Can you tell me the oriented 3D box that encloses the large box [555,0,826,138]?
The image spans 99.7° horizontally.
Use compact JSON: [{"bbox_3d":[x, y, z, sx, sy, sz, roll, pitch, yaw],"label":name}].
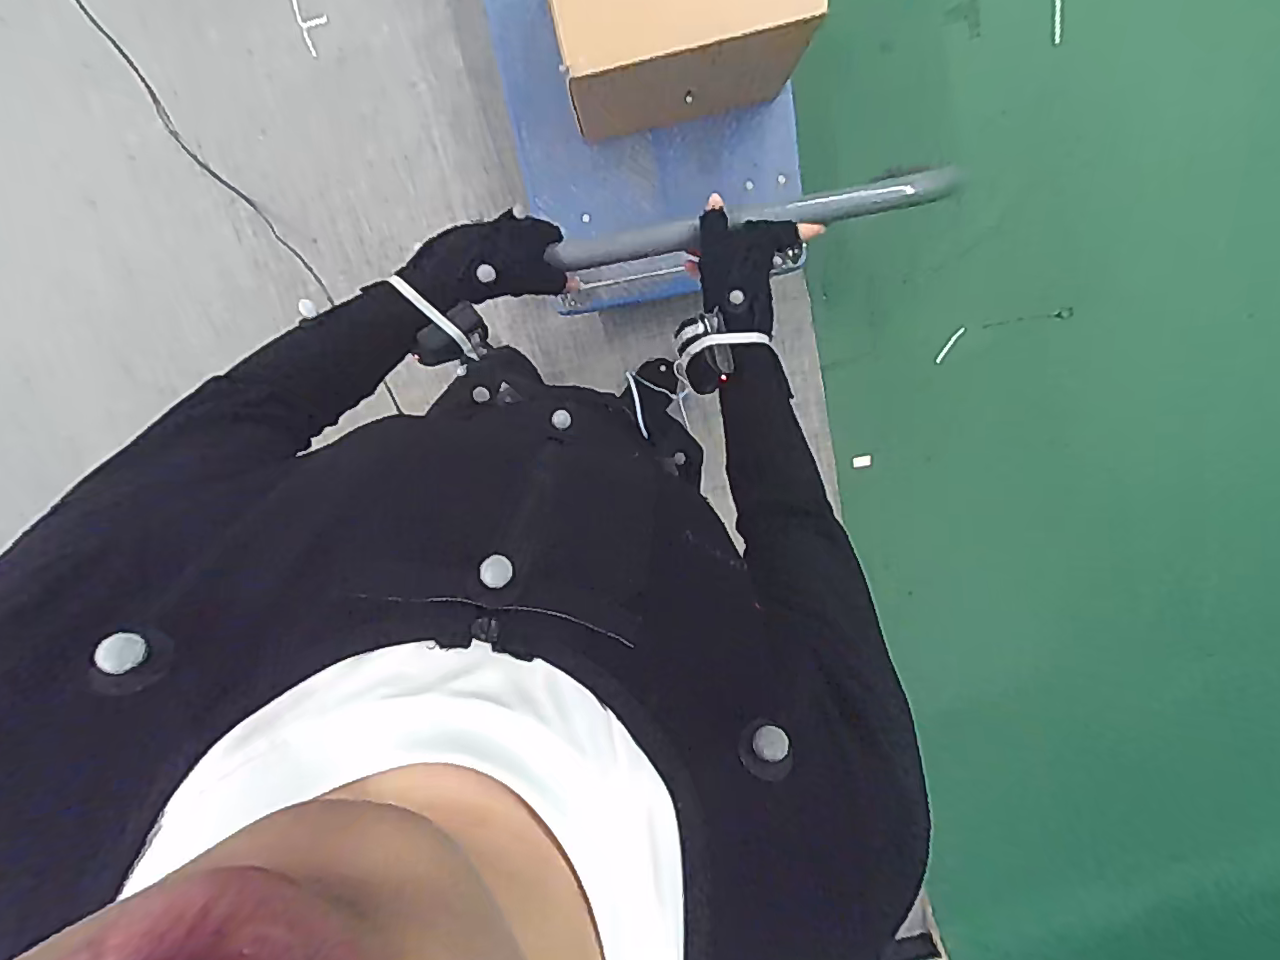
[{"bbox_3d":[0.059,-0.853,0.934,0.408,0.320,0.320,-12,105,5],"label":"large box"}]
